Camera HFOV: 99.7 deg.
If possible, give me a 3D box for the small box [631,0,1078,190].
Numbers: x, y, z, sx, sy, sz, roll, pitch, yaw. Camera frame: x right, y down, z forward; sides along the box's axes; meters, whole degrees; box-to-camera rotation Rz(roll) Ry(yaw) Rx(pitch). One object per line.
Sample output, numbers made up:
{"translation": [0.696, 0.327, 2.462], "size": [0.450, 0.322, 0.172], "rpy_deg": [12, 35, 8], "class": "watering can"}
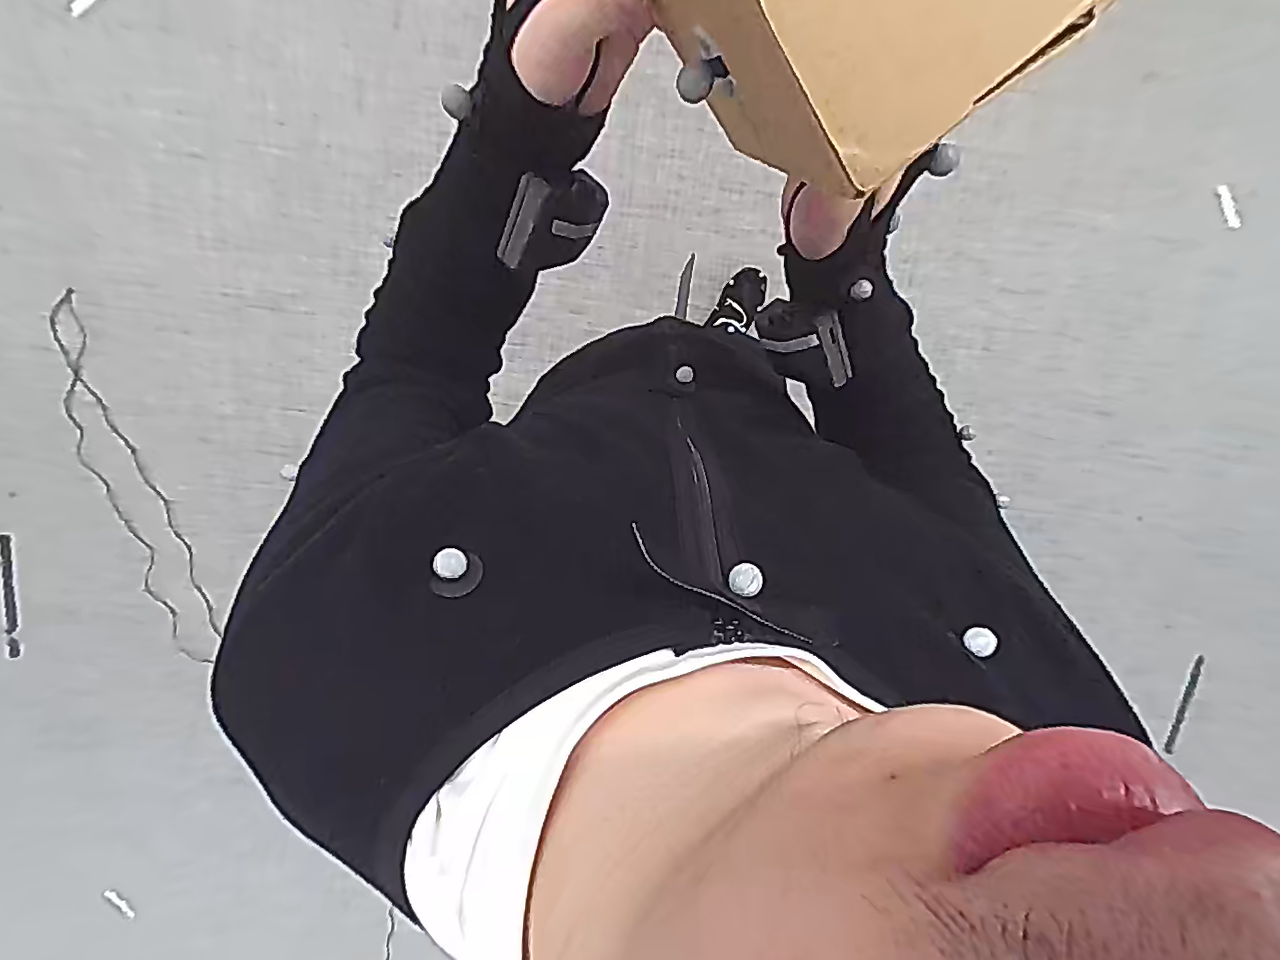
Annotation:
{"translation": [0.060, -0.224, 0.153], "size": [0.168, 0.176, 0.179], "rpy_deg": [-36, 119, 19], "class": "small box"}
